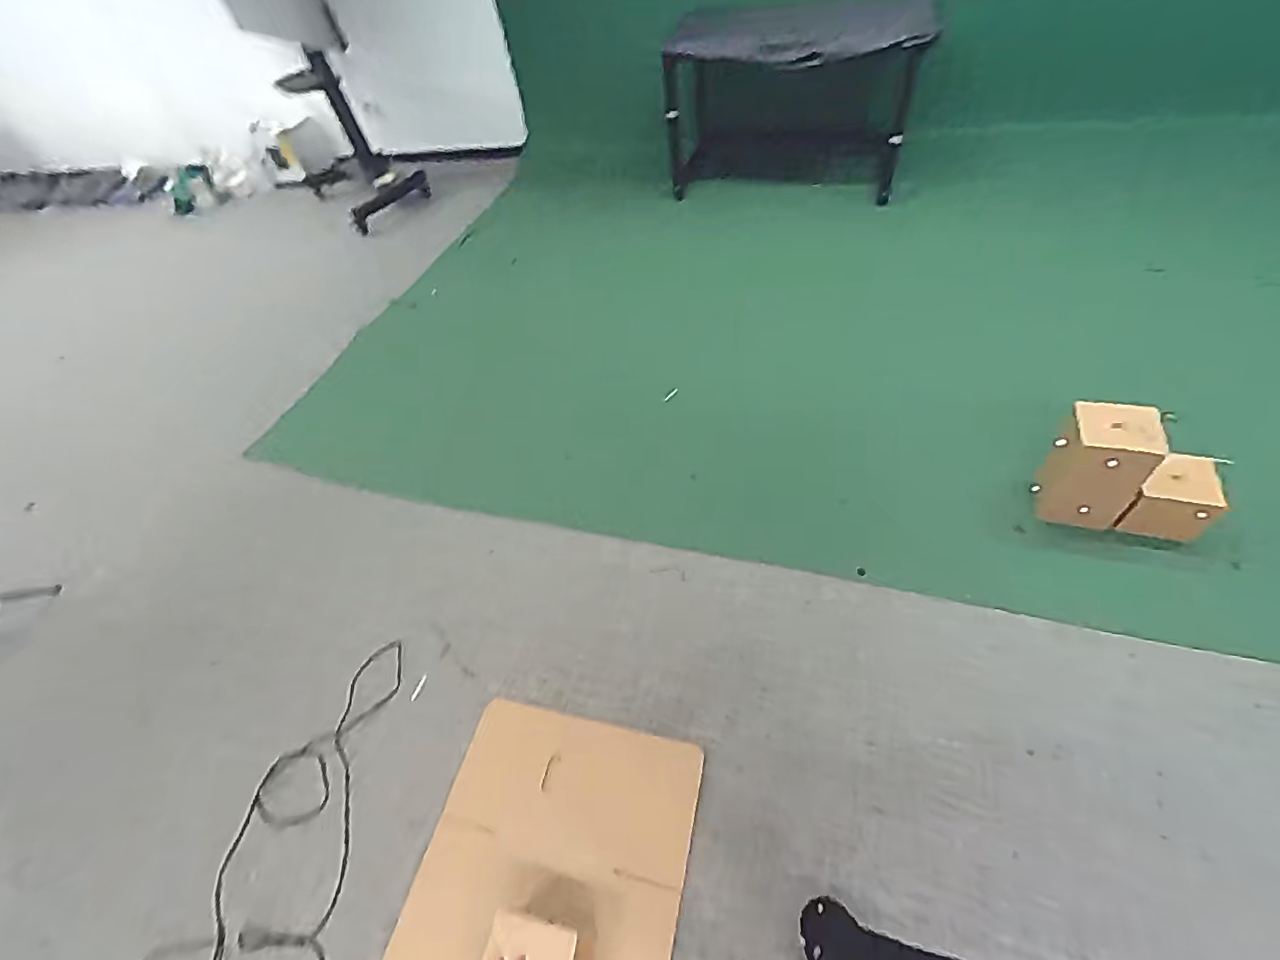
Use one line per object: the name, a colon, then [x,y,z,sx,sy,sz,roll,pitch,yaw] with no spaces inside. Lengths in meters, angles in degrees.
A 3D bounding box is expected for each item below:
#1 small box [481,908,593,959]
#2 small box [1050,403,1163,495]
small box: [-0.205,0.961,1.061,0.179,0.176,0.168,5,53,15]
small box: [1.223,-0.080,1.437,0.179,0.176,0.168,10,54,19]
